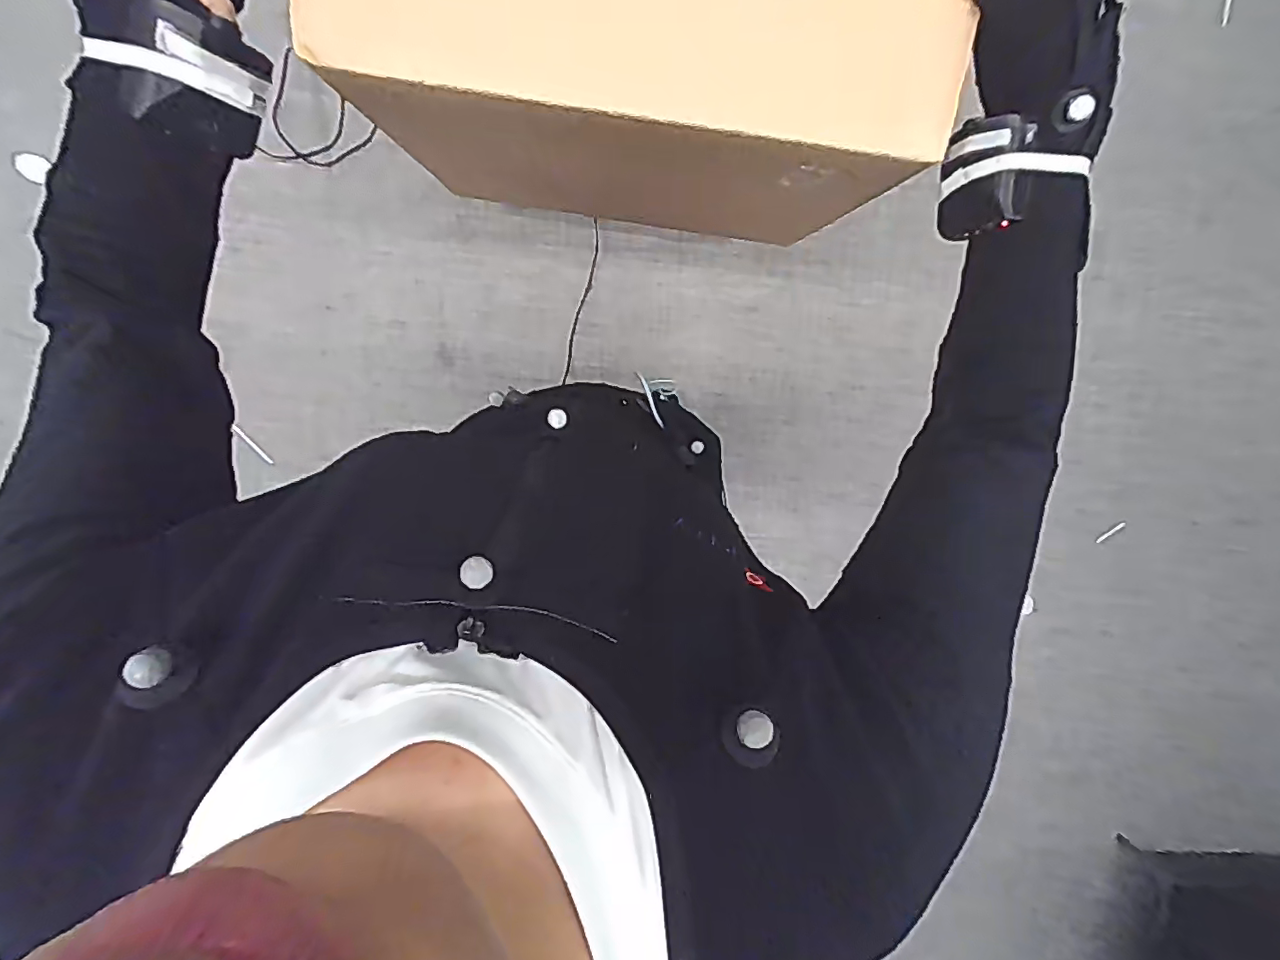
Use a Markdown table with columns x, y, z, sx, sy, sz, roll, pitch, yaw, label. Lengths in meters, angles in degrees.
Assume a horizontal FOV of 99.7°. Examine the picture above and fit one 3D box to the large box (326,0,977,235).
| x | y | z | sx | sy | sz | roll | pitch | yaw | label |
| --- | --- | --- | --- | --- | --- | --- | --- | --- | --- |
| 0.013 | -0.420 | 0.452 | 0.408 | 0.320 | 0.320 | 6 | 104 | -5 | large box |
